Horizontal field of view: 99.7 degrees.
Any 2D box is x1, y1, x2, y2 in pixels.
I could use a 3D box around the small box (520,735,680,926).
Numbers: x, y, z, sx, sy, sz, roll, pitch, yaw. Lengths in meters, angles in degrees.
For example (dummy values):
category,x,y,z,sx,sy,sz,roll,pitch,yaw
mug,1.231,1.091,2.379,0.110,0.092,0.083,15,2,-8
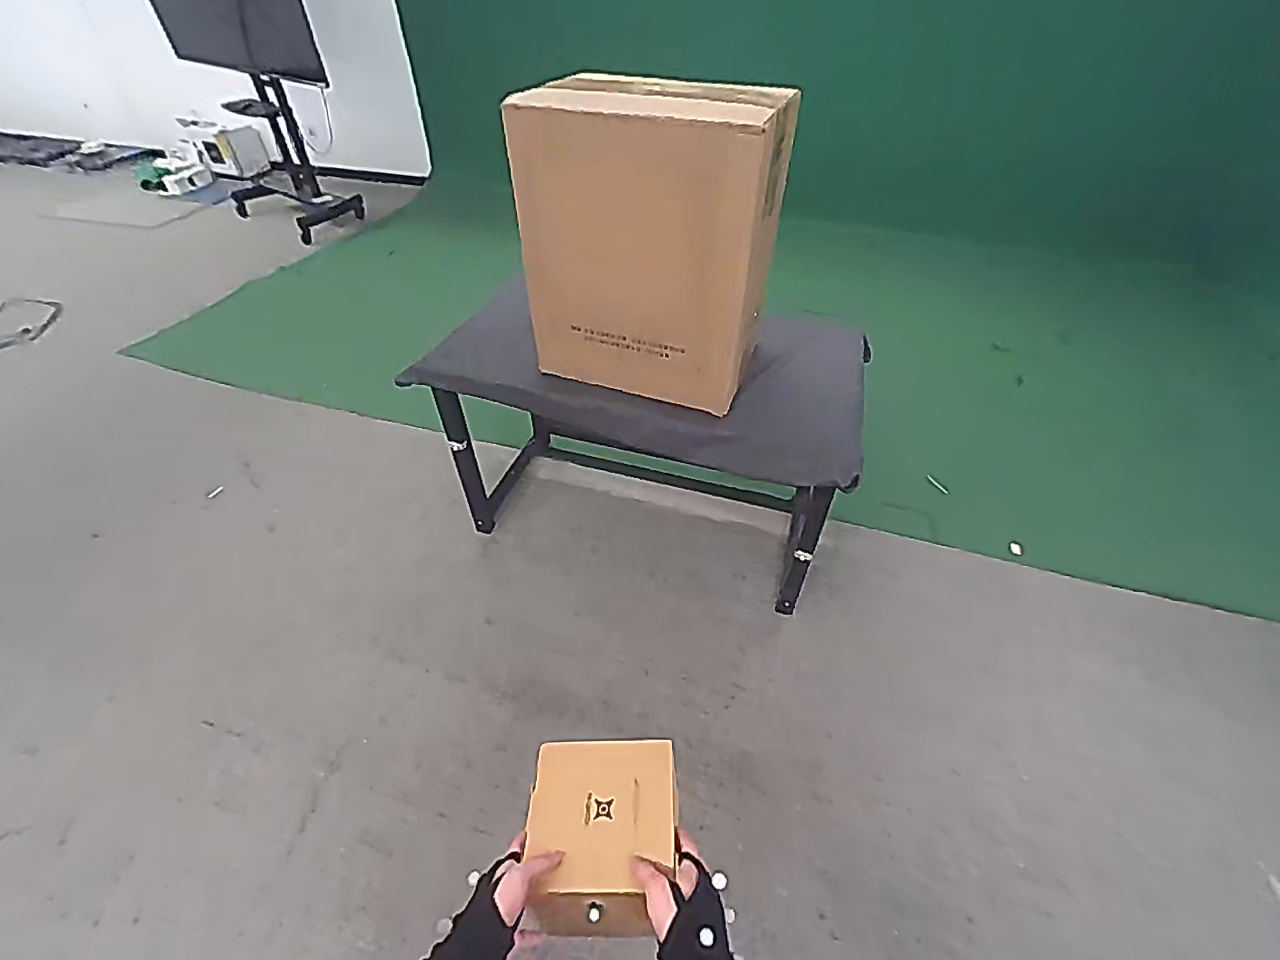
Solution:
category,x,y,z,sx,sy,sz,roll,pitch,yaw
small box,-0.040,0.452,0.698,0.179,0.176,0.168,-2,38,2
